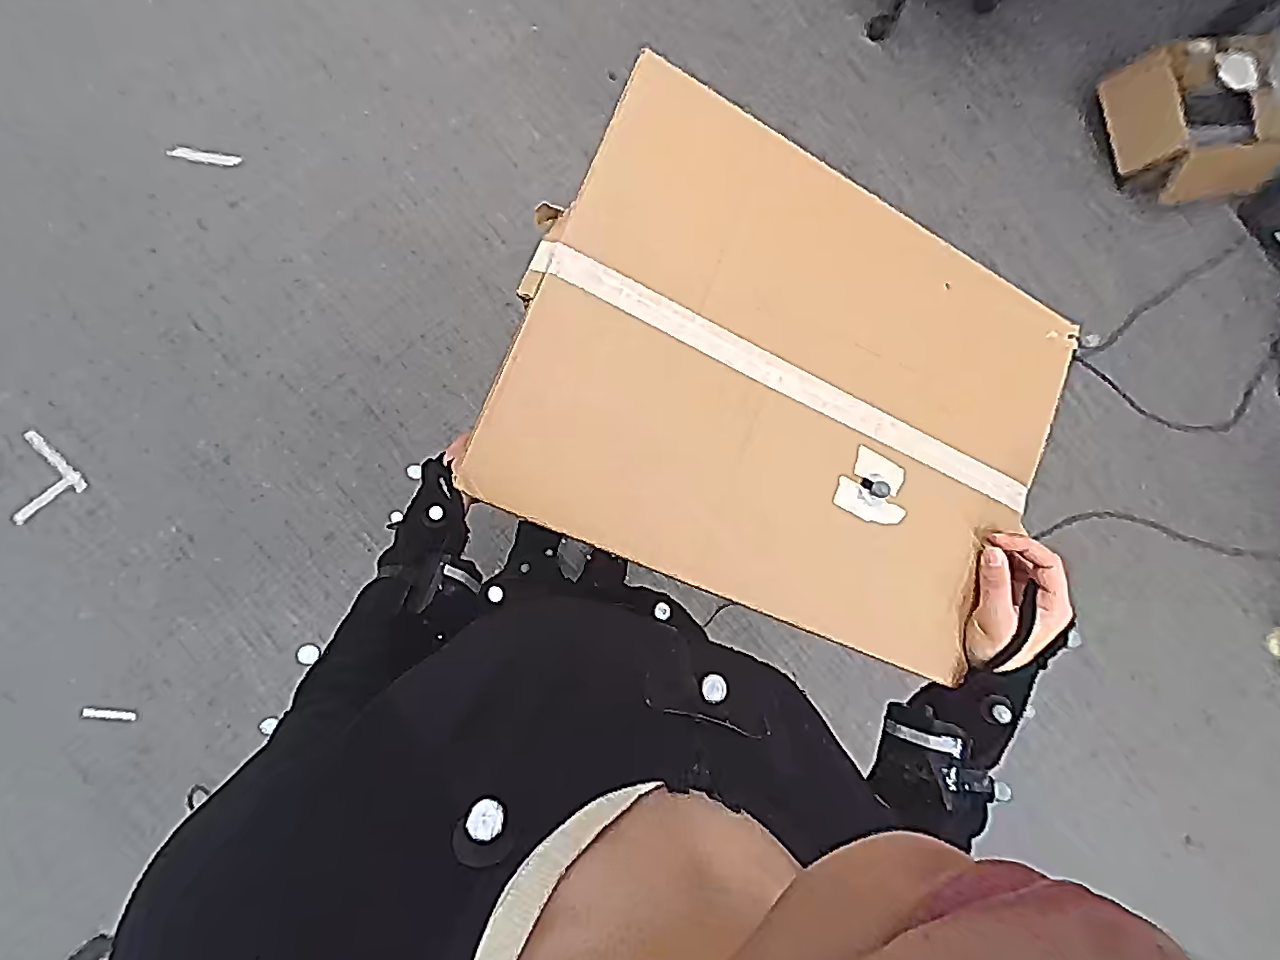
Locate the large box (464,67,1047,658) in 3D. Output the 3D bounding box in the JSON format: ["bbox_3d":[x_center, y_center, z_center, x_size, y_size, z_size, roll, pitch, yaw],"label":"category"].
[{"bbox_3d":[0.077,-0.067,0.537,0.408,0.320,0.320,23,85,-15],"label":"large box"}]
